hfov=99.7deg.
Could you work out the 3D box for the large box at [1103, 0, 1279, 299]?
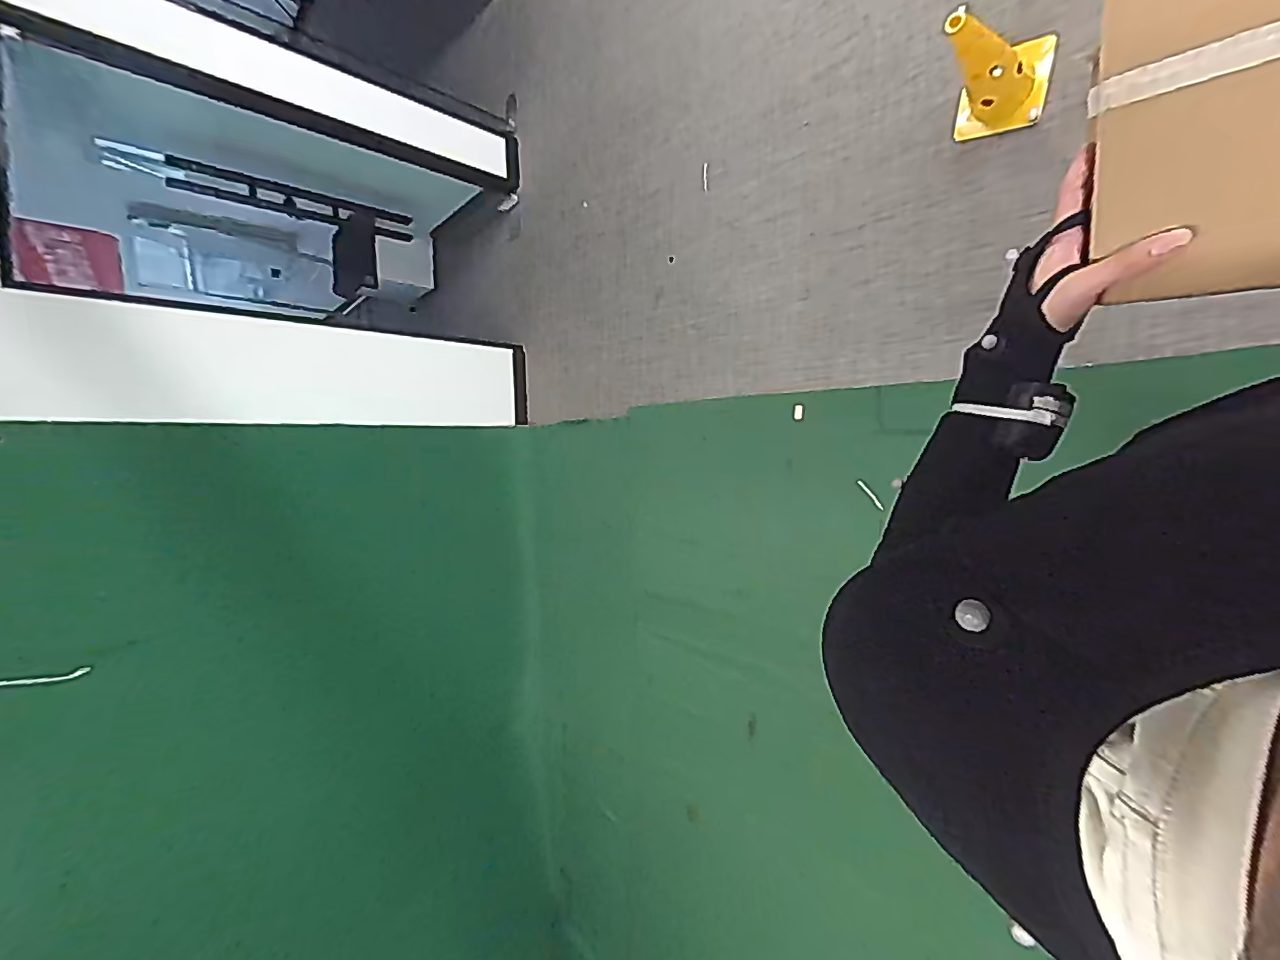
[{"bbox_3d":[0.607,-0.326,0.375,0.408,0.320,0.320,7,112,46],"label":"large box"}]
